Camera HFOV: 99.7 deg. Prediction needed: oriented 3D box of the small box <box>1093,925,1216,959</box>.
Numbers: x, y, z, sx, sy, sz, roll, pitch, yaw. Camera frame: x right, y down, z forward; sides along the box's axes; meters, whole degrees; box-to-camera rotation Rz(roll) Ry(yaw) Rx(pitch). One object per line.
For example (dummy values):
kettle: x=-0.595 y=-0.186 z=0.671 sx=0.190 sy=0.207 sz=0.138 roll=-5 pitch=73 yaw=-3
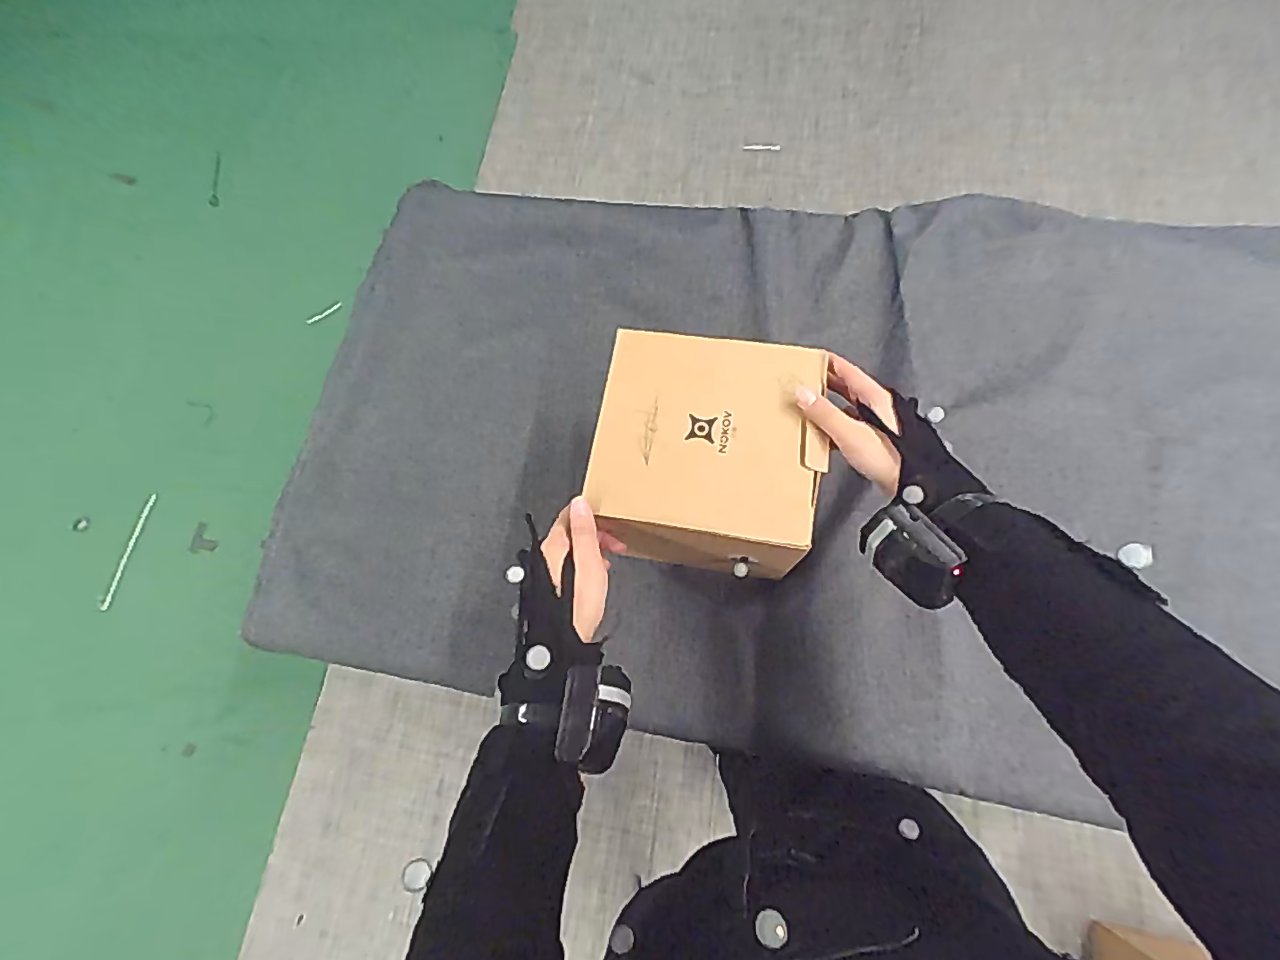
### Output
small box: x=0.894 y=0.874 z=0.883 sx=0.179 sy=0.176 sz=0.168 roll=8 pitch=72 yaw=9

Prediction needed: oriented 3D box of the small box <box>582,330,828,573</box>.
small box: x=0.062 y=-0.015 z=0.501 sx=0.179 sy=0.176 sz=0.168 roll=7 pitch=71 yaw=9
